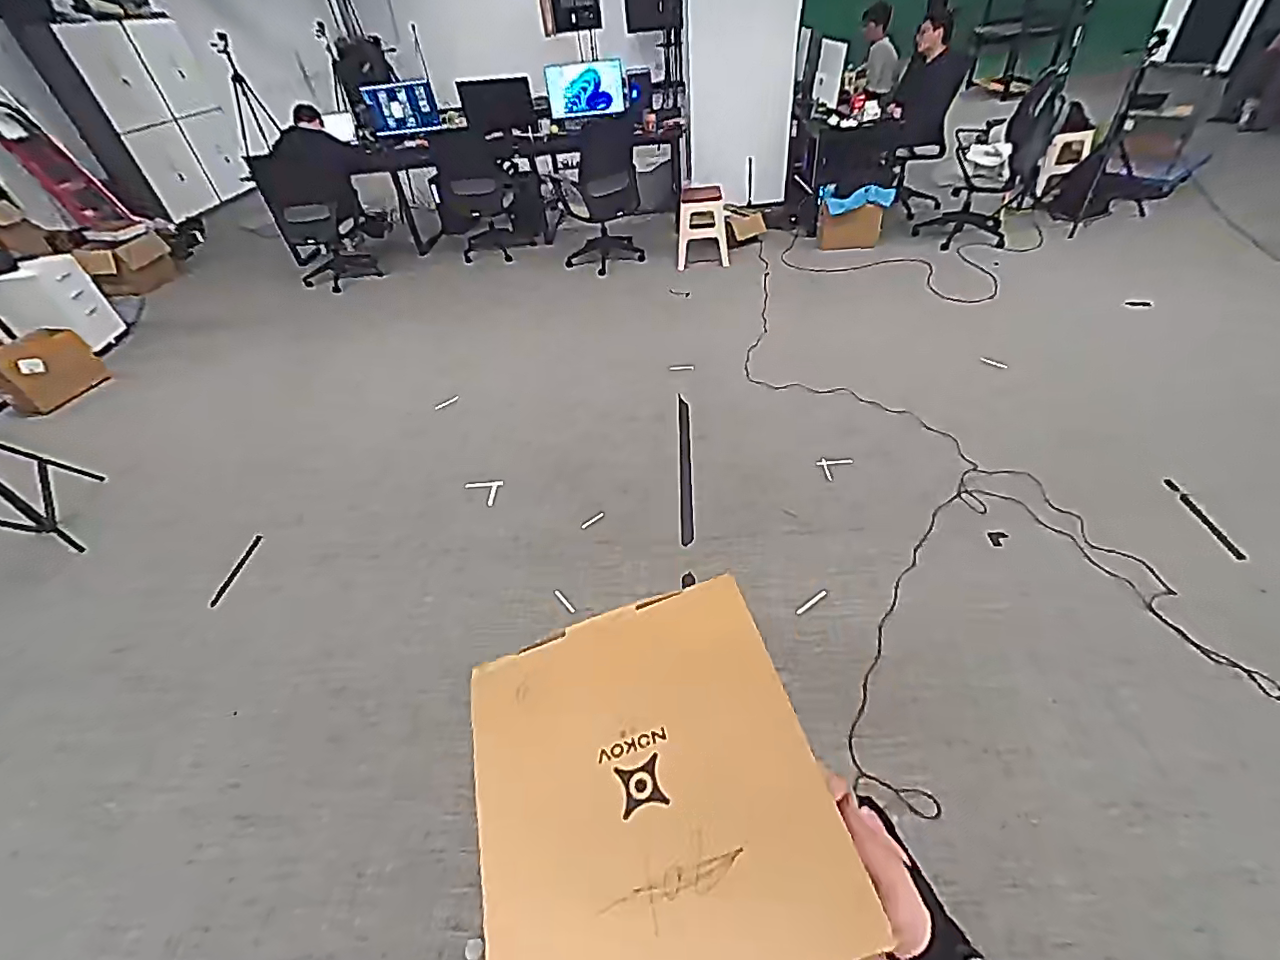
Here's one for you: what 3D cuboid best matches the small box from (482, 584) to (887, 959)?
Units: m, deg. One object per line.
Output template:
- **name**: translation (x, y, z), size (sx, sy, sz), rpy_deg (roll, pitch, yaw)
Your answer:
- **small box**: translation (0.019, 0.198, 0.332), size (0.168, 0.176, 0.179), rpy_deg (-20, 50, 0)
